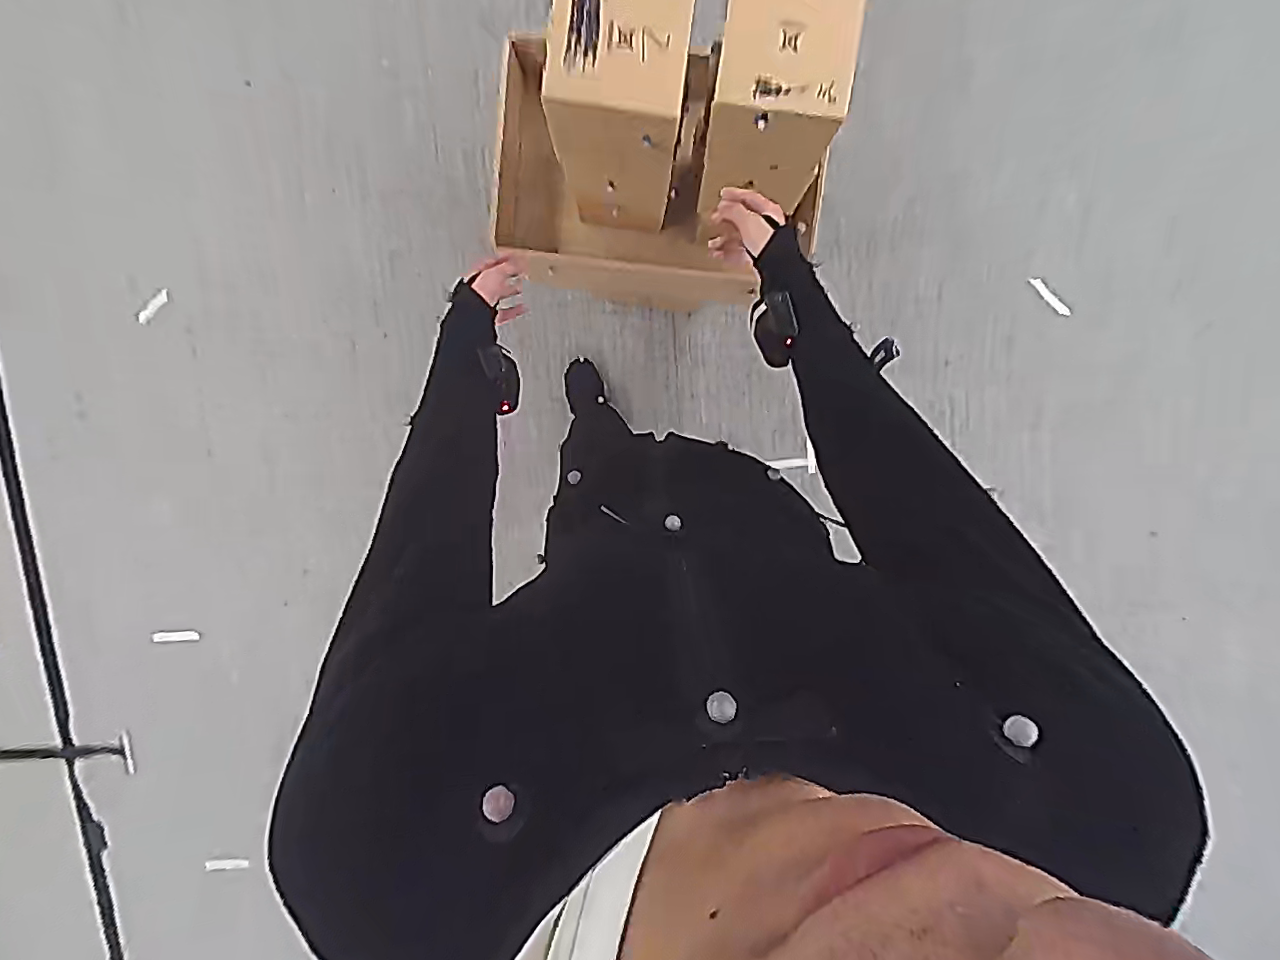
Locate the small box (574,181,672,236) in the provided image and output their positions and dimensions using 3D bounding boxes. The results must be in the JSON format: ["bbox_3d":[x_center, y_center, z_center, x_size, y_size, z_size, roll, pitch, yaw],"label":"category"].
[{"bbox_3d":[-0.027,-0.593,1.056,0.179,0.176,0.168,7,96,-2],"label":"small box"}]

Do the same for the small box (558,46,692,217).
[{"bbox_3d":[-0.024,-0.559,0.895,0.179,0.176,0.168,12,96,-1],"label":"small box"}]
